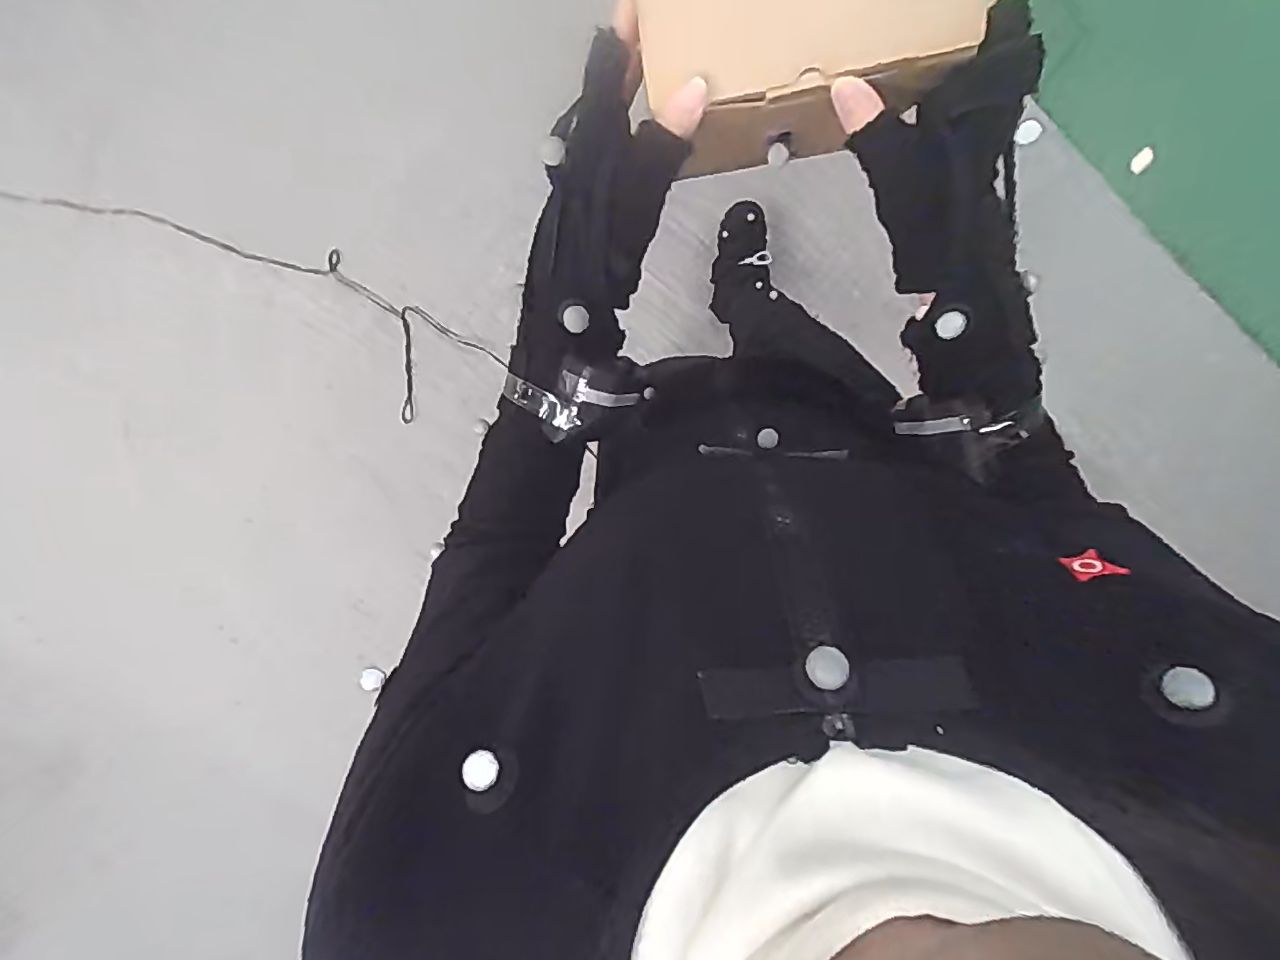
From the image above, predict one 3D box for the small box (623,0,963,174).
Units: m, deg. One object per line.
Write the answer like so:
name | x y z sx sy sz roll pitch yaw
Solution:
small box | 0.073 -0.303 0.328 0.168 0.176 0.179 -9 109 7
